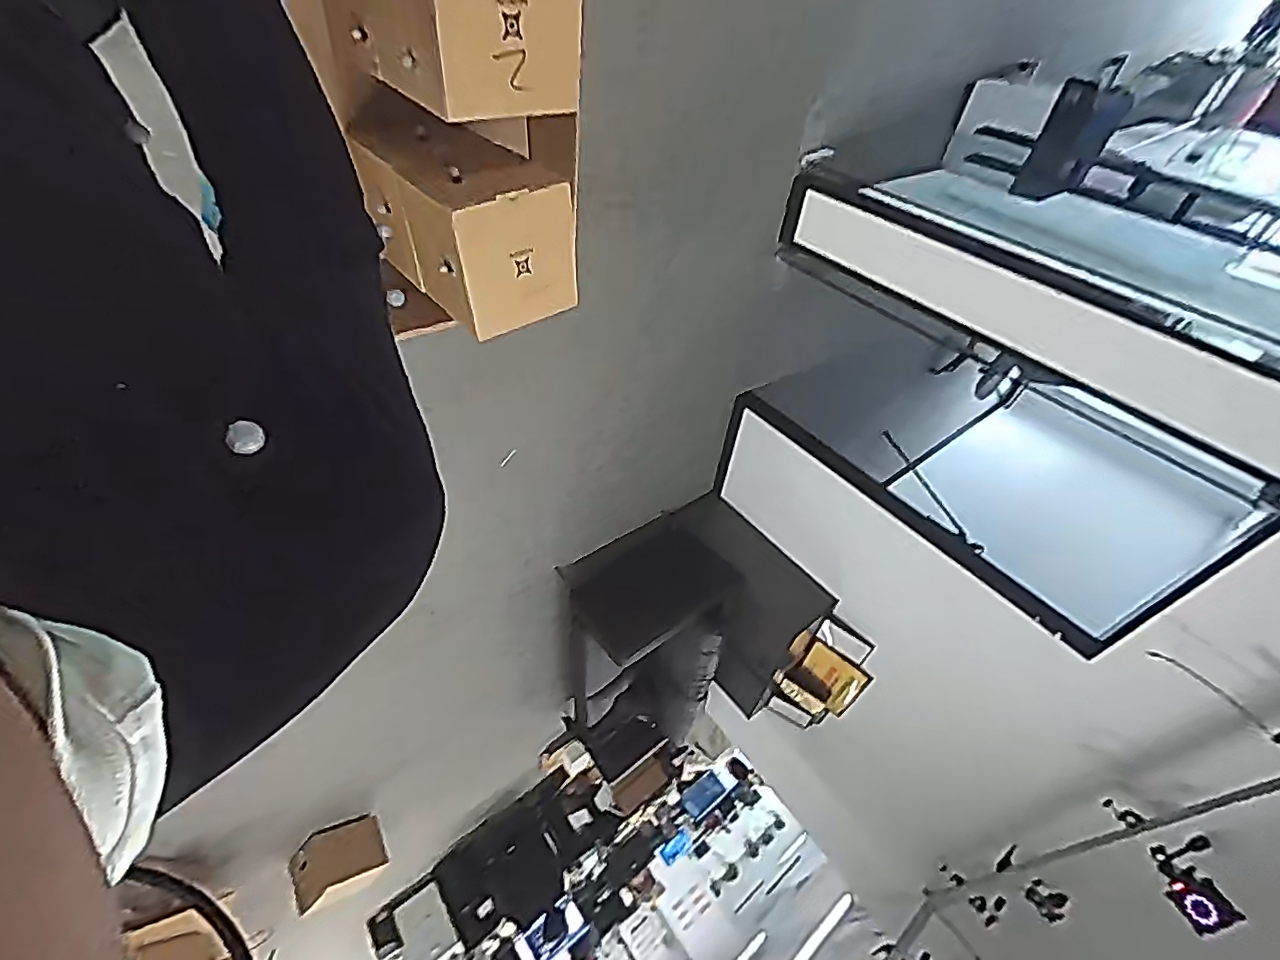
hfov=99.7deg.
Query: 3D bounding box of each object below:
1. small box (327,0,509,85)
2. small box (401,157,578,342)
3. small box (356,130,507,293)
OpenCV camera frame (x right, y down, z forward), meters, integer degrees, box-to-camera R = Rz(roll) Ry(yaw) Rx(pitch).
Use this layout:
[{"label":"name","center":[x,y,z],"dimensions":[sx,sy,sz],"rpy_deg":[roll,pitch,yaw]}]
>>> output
[{"label":"small box","center":[-0.277,-0.606,0.655],"dimensions":[0.168,0.176,0.179],"rpy_deg":[-27,146,-30]},{"label":"small box","center":[-0.203,-0.326,0.747],"dimensions":[0.168,0.176,0.179],"rpy_deg":[-29,145,-26]},{"label":"small box","center":[-0.307,-0.420,0.832],"dimensions":[0.168,0.176,0.179],"rpy_deg":[-29,144,-27]}]
